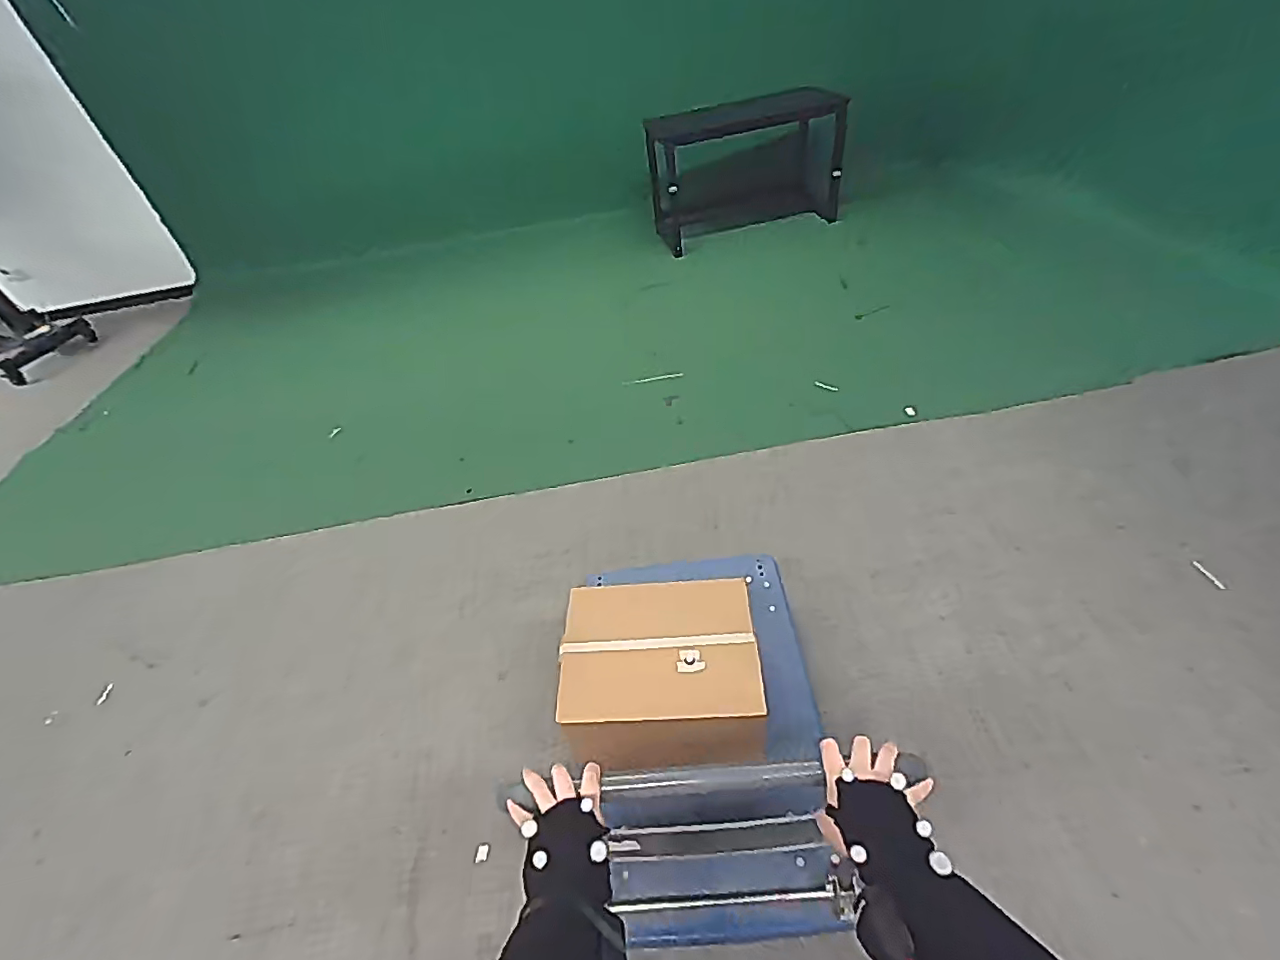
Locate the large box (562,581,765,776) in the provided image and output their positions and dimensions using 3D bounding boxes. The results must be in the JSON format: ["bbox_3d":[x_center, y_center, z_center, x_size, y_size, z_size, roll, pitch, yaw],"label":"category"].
[{"bbox_3d":[0.056,0.463,1.253,0.408,0.320,0.320,-4,43,4],"label":"large box"}]
